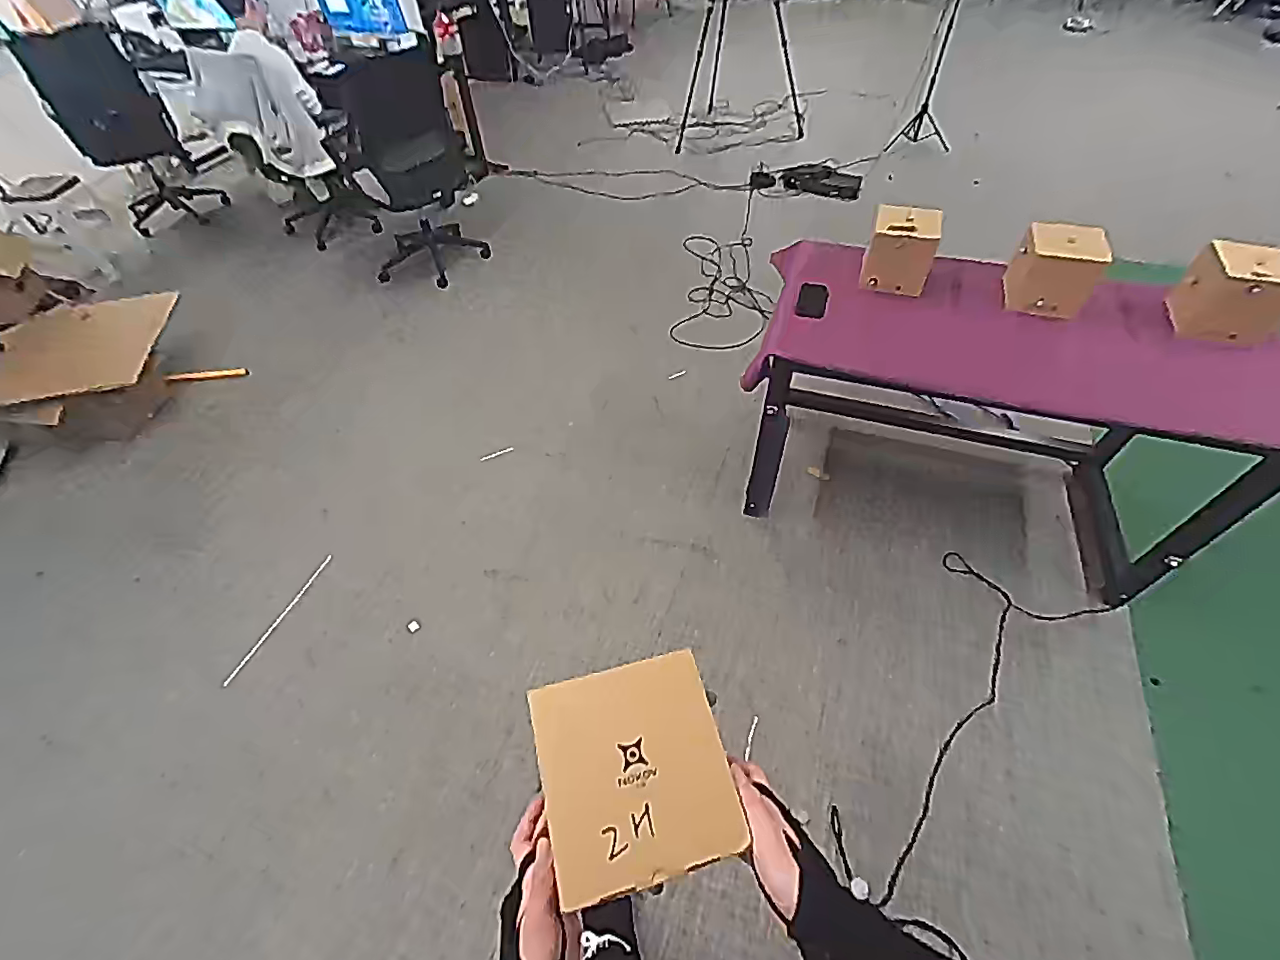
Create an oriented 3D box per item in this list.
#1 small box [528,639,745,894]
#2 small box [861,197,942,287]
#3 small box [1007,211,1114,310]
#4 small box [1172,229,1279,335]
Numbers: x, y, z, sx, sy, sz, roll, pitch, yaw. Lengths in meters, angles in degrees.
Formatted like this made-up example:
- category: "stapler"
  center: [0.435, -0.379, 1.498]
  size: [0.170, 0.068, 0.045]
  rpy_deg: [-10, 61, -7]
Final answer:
- category: "small box"
  center: [-0.012, 0.288, 0.553]
  size: [0.168, 0.176, 0.179]
  rpy_deg: [-12, 59, -9]
- category: "small box"
  center: [0.727, -0.664, 1.512]
  size: [0.168, 0.176, 0.179]
  rpy_deg: [13, 53, 14]
- category: "small box"
  center: [1.088, -0.574, 1.417]
  size: [0.168, 0.176, 0.179]
  rpy_deg: [14, 54, 16]
- category: "small box"
  center: [1.453, -0.481, 1.312]
  size: [0.168, 0.176, 0.179]
  rpy_deg: [14, 53, 17]
